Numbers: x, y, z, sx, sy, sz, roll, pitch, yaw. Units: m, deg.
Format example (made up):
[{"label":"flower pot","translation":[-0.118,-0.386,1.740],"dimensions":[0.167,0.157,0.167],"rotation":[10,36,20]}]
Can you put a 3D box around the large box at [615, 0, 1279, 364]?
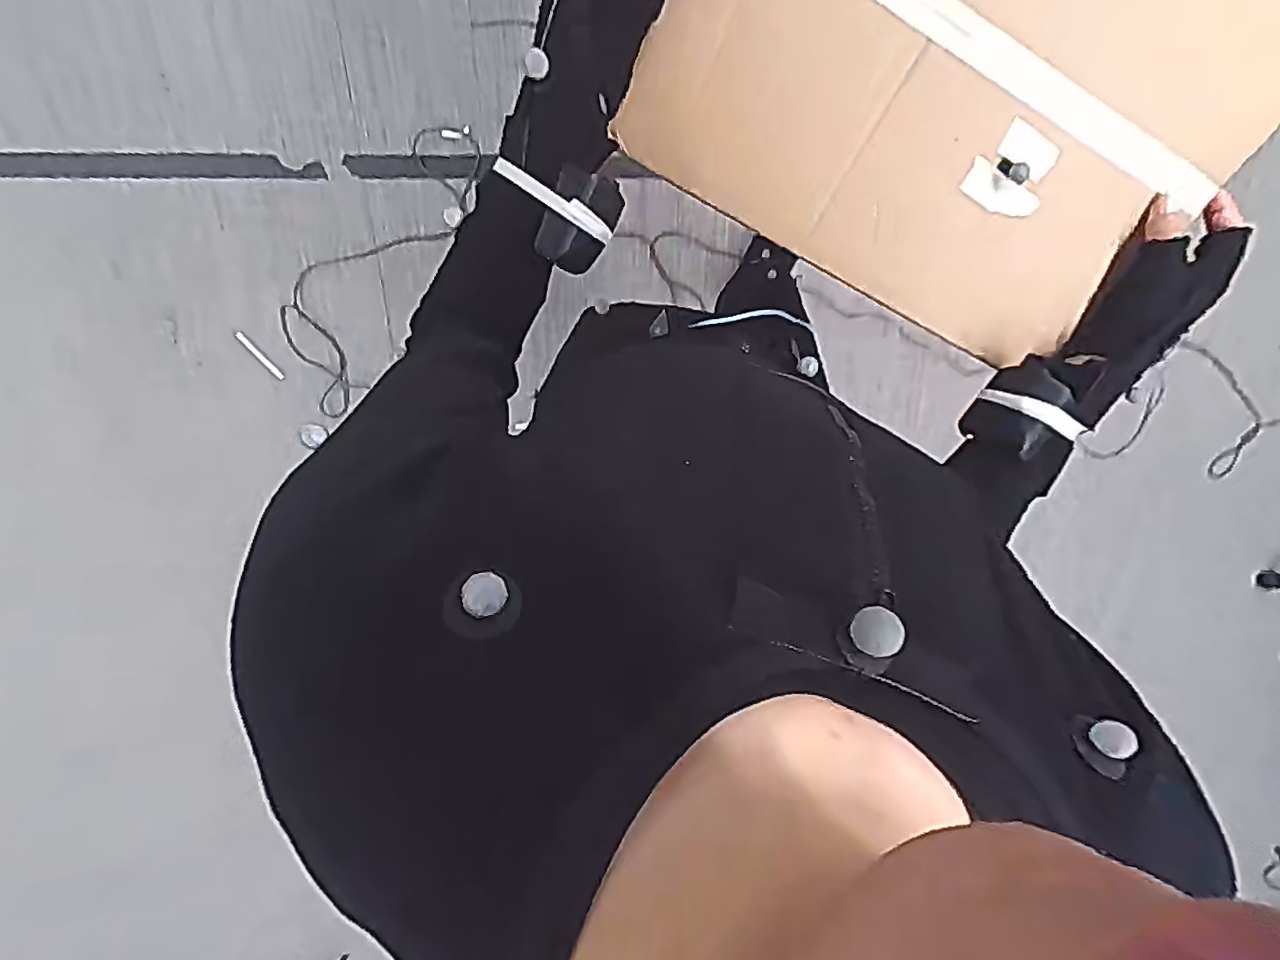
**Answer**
[{"label":"large box","translation":[0.225,-0.369,0.493],"dimensions":[0.408,0.320,0.320],"rotation":[24,121,-12]}]
